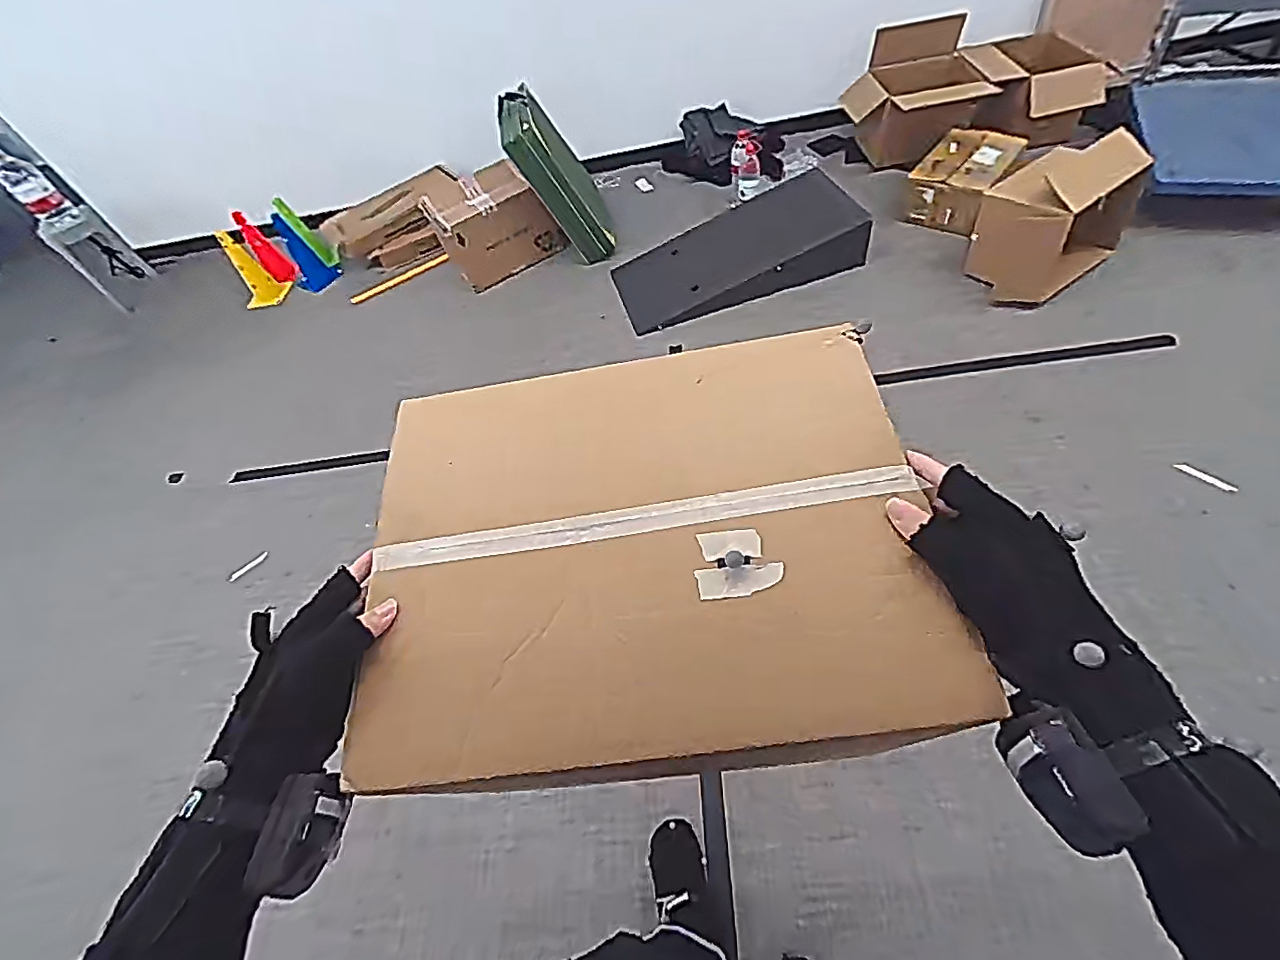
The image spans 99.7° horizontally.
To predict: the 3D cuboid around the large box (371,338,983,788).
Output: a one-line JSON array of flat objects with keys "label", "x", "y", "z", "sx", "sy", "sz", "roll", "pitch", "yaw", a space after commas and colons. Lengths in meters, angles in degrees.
[{"label": "large box", "x": 0.020, "y": 0.108, "z": 0.544, "sx": 0.408, "sy": 0.320, "sz": 0.320, "roll": -9, "pitch": 60, "yaw": 4}]
